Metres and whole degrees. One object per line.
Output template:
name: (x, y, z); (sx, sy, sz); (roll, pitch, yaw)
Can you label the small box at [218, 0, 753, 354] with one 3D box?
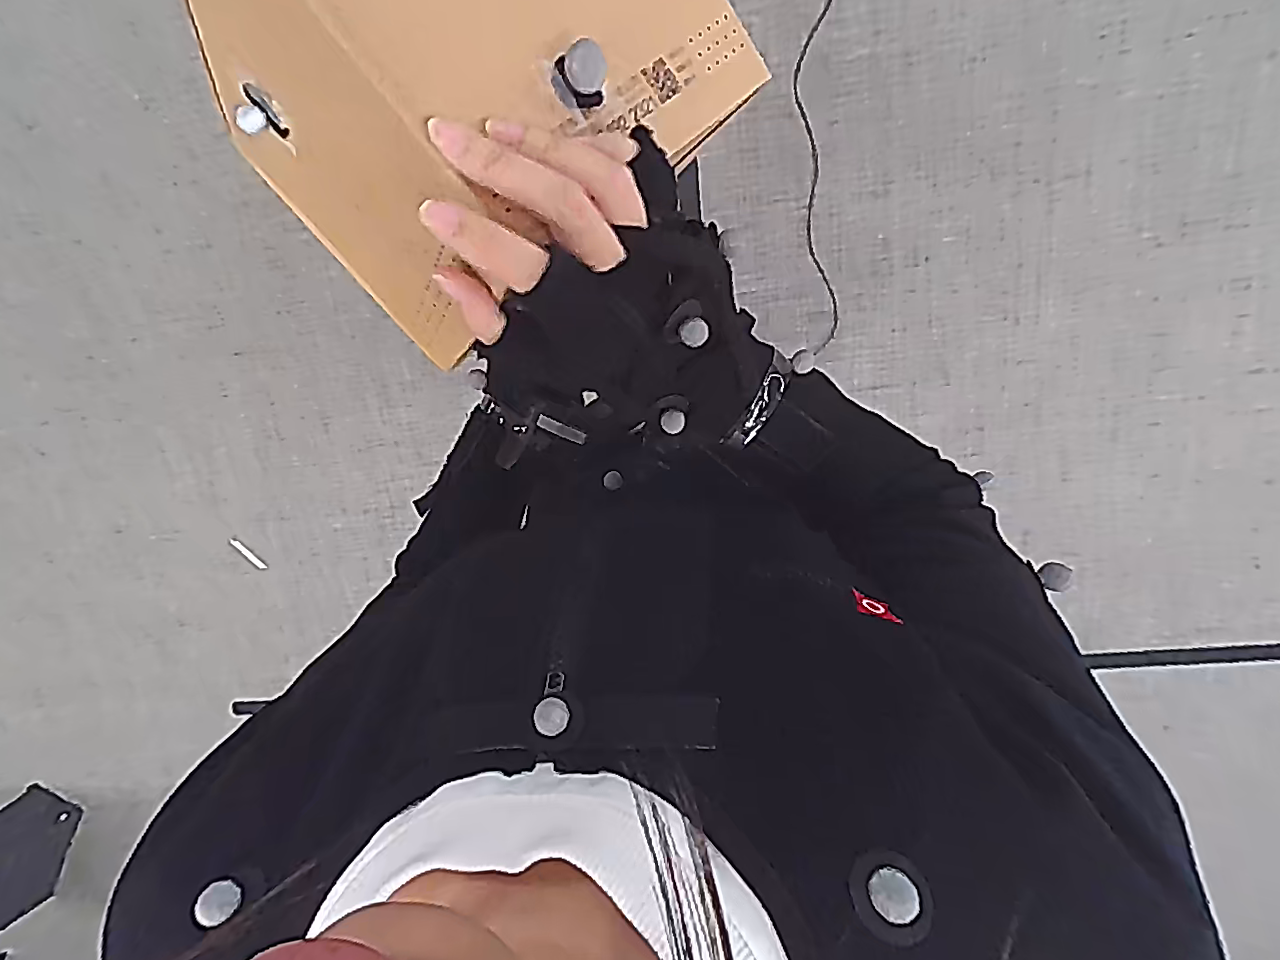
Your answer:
small box: (-0.078, -0.192, 0.290); (0.176, 0.179, 0.168); (49, 69, -17)
